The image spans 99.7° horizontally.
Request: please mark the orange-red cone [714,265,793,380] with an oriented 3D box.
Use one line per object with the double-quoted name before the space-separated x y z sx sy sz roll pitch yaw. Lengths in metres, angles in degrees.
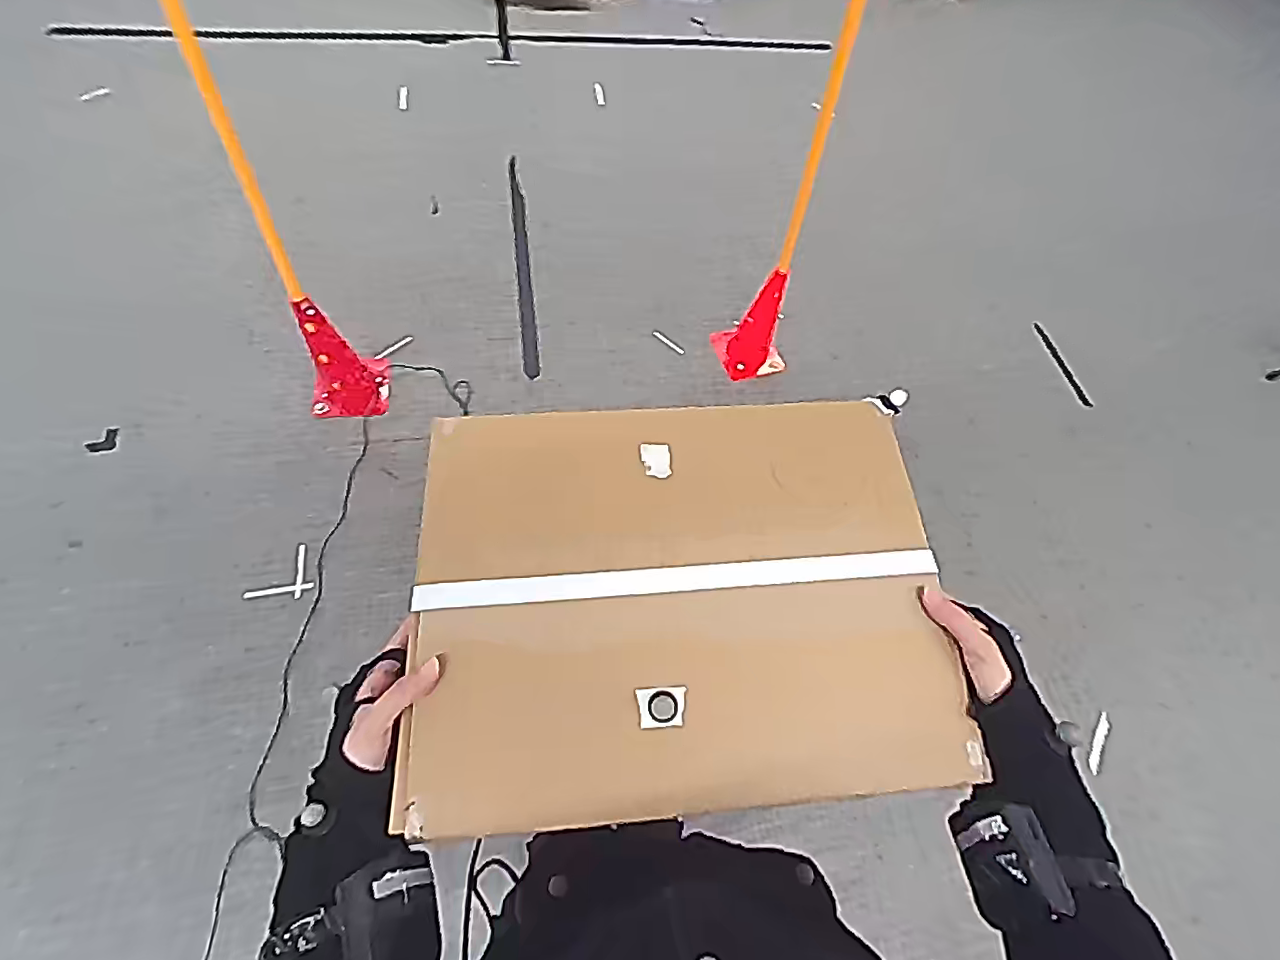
"orange-red cone" 0.377 -0.491 1.610 0.199 0.360 0.198 -14 67 -14
